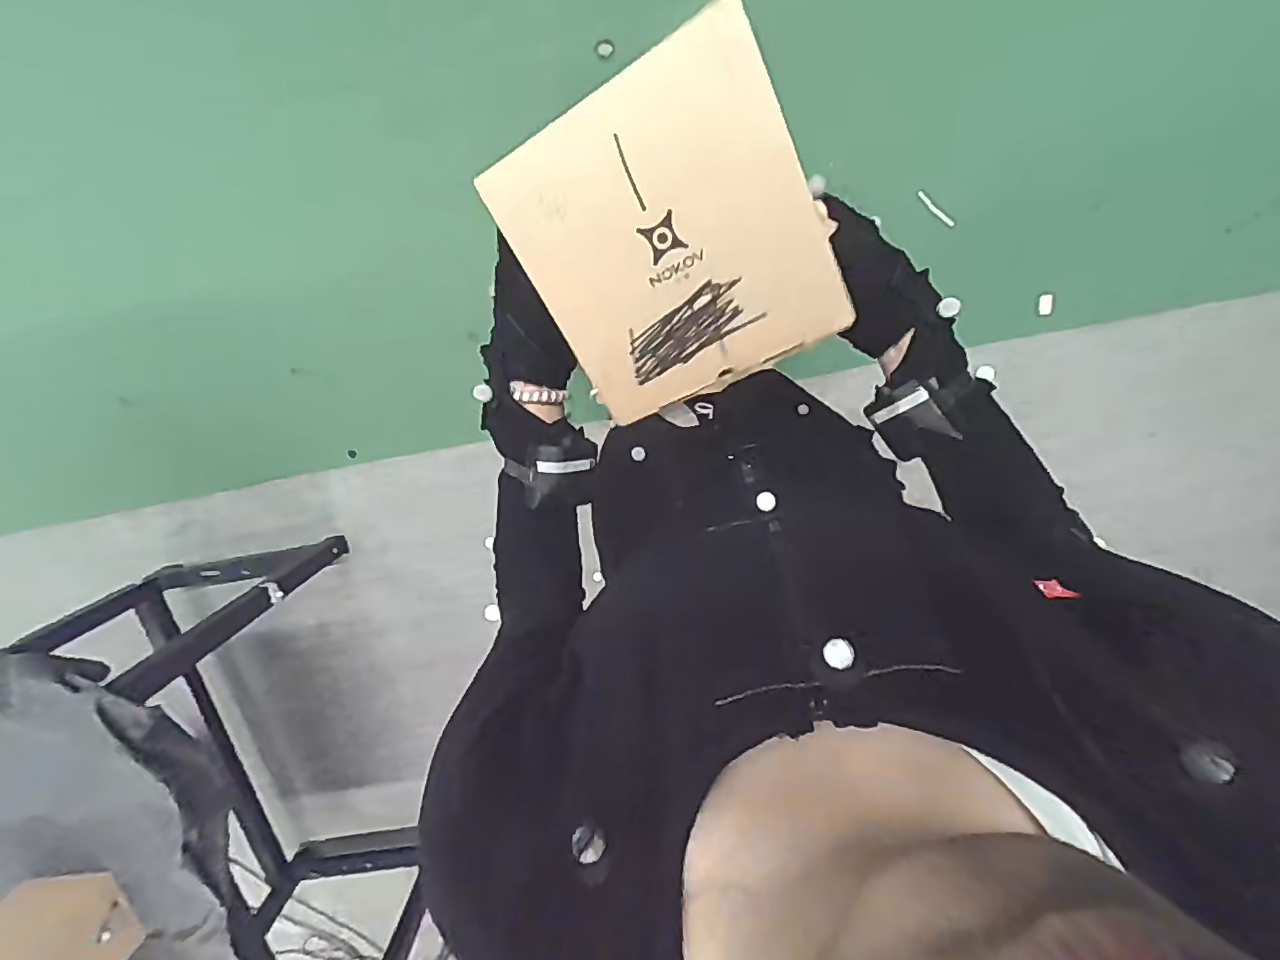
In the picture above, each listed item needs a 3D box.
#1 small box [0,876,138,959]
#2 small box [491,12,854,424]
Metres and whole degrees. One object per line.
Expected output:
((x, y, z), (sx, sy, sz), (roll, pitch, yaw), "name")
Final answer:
((-1.030, 0.816, 0.916), (0.179, 0.176, 0.168), (-8, 106, 3), "small box")
((0.034, -0.172, 0.383), (0.168, 0.176, 0.179), (-19, 116, 20), "small box")
